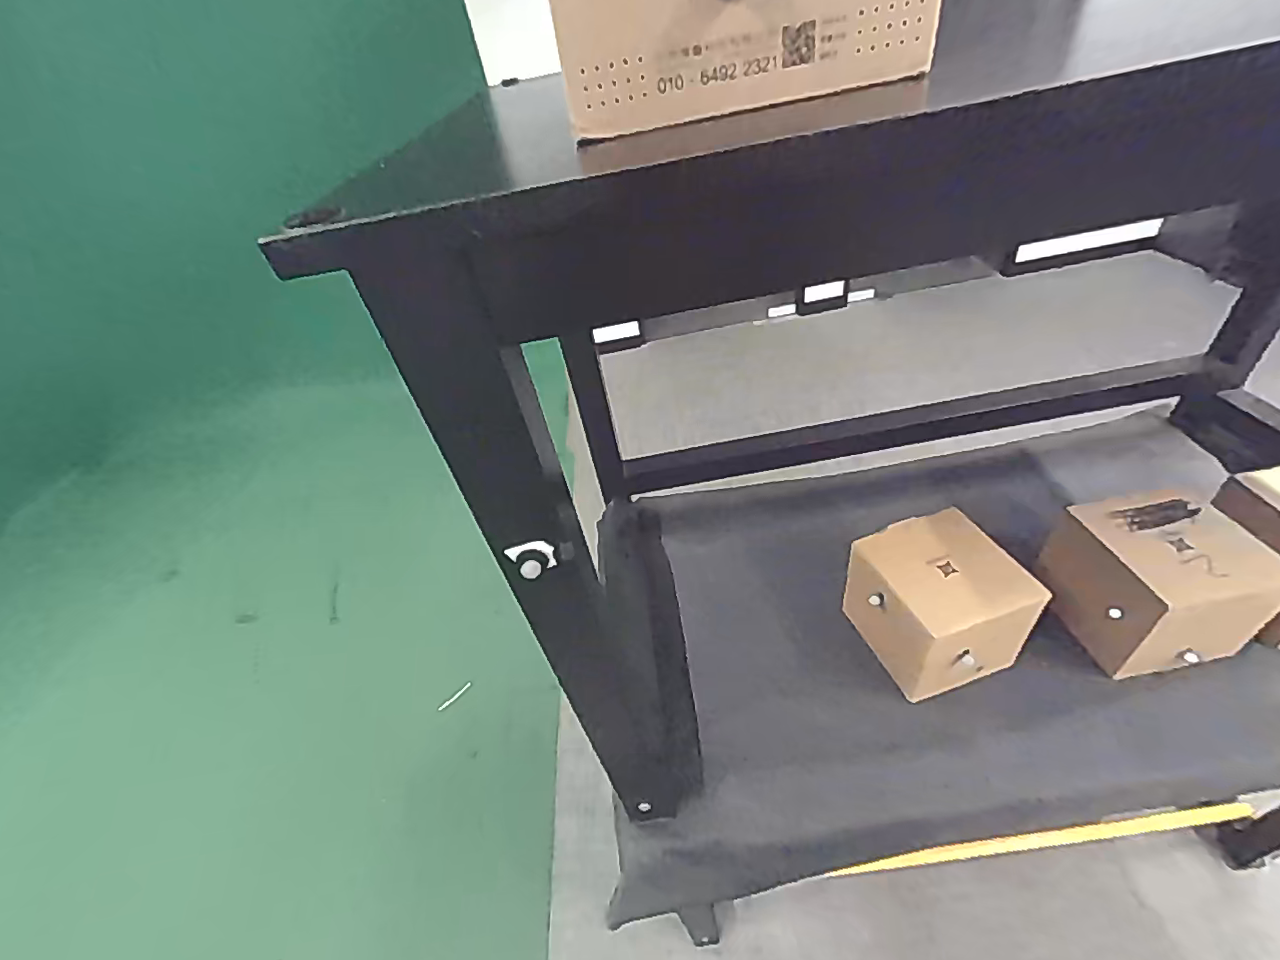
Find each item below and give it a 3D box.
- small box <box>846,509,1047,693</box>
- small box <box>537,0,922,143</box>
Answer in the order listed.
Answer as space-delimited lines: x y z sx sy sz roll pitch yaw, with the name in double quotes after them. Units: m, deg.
0.415 0.176 0.769 0.168 0.176 0.179 -17 40 -6 "small box"
0.029 -0.283 0.265 0.168 0.176 0.179 -10 41 3 "small box"
